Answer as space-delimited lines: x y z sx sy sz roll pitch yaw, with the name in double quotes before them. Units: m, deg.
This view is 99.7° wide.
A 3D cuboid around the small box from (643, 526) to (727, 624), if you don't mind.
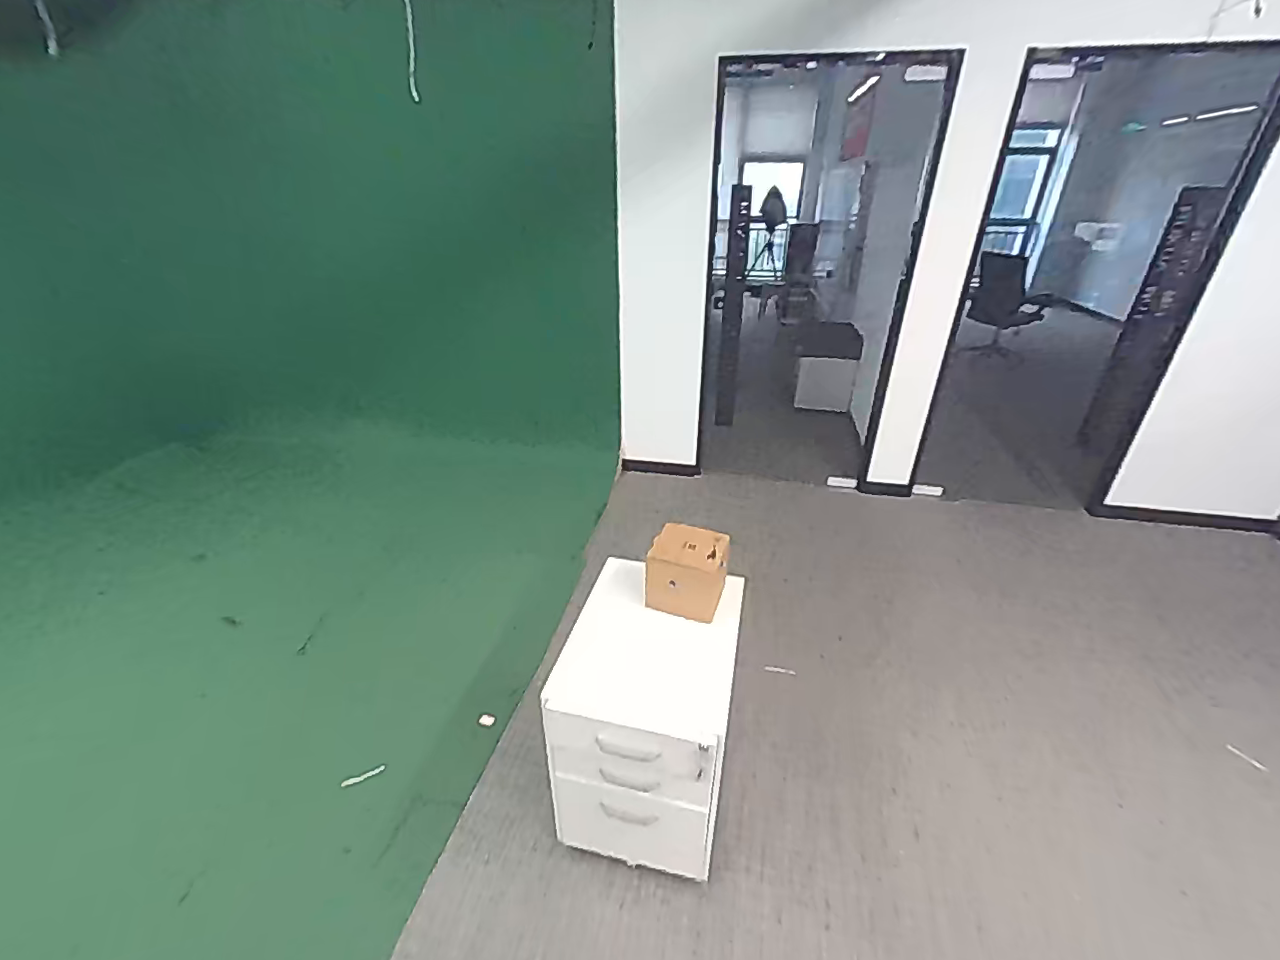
"small box" 0.117 0.243 1.390 0.179 0.176 0.168 10 30 18
